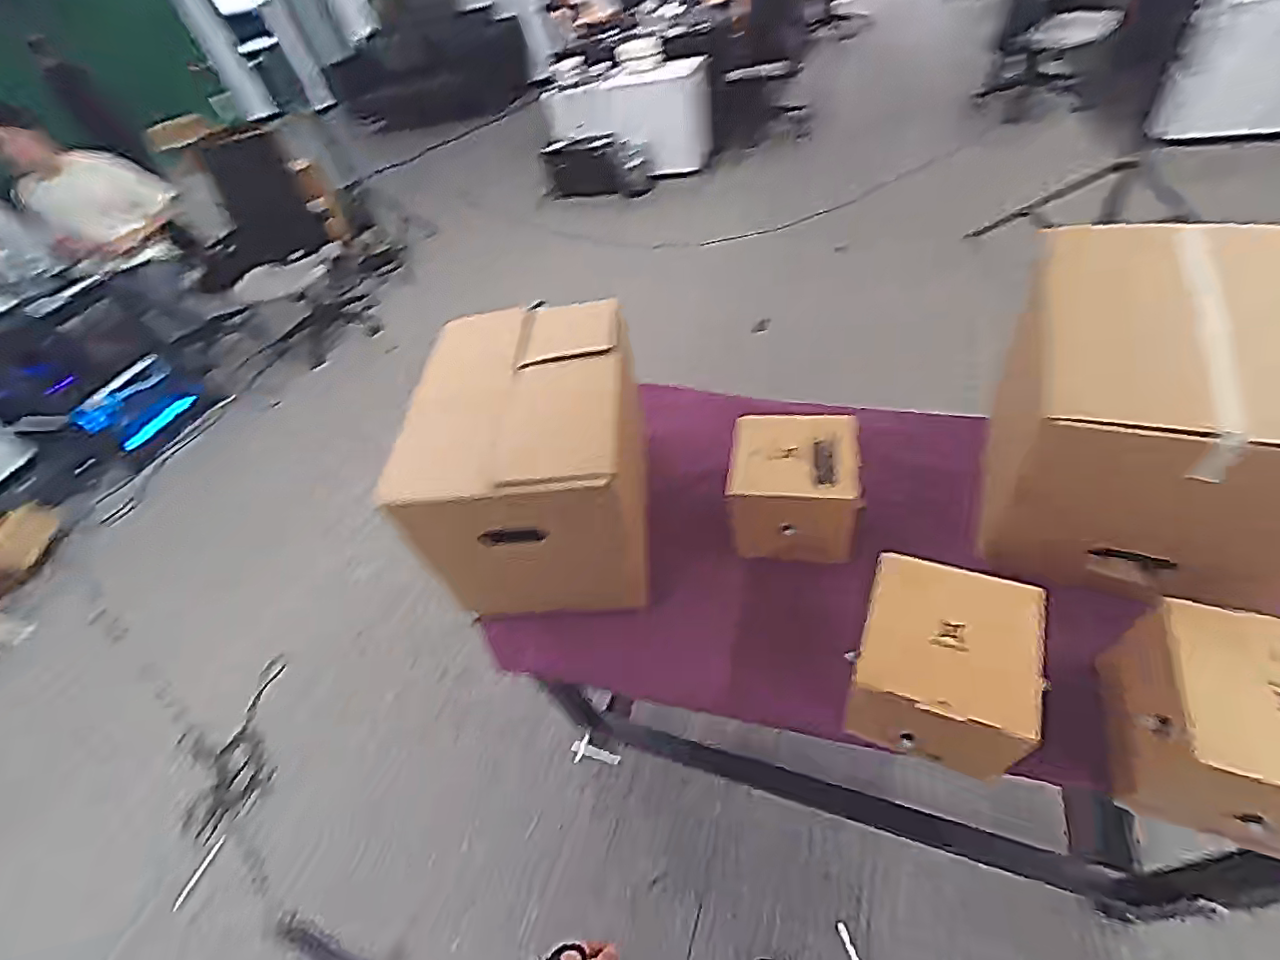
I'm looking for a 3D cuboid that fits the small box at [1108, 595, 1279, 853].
[{"bbox_3d":[0.611,0.250,0.543,0.168,0.176,0.179,12,51,24],"label":"small box"}]

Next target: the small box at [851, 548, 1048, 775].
[{"bbox_3d":[0.358,0.215,0.645,0.168,0.176,0.179,13,55,25],"label":"small box"}]
